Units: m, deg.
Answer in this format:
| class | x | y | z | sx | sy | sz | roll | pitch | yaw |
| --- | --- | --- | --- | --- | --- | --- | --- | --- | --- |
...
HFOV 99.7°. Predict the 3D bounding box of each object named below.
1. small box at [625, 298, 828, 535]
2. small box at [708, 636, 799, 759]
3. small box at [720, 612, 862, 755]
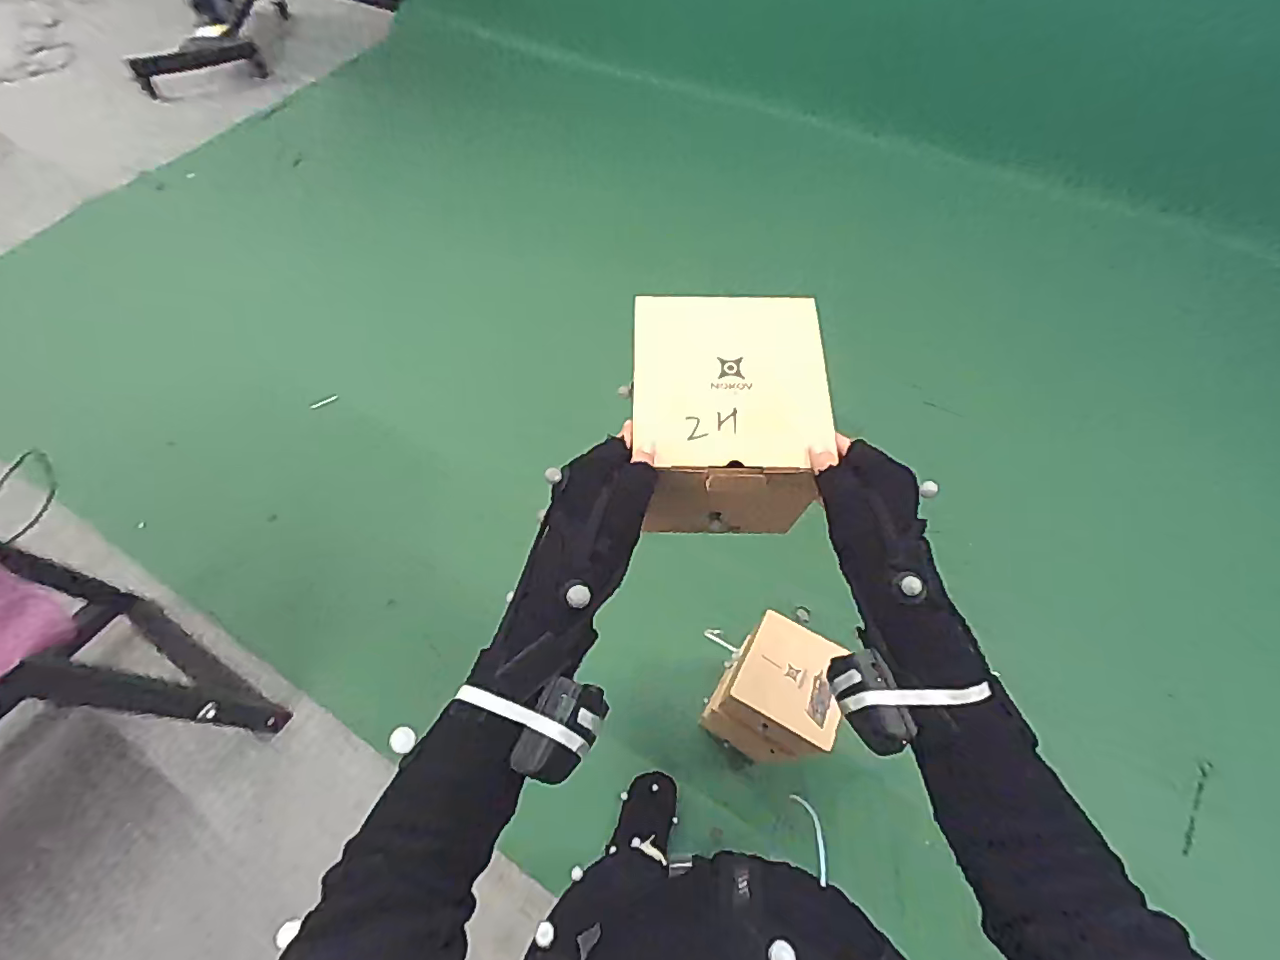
| class | x | y | z | sx | sy | sz | roll | pitch | yaw |
| --- | --- | --- | --- | --- | --- | --- | --- | --- | --- |
| small box | 0.069 | -0.055 | 0.536 | 0.168 | 0.176 | 0.179 | 0 | 67 | 1 |
| small box | 0.252 | 0.451 | 1.106 | 0.179 | 0.176 | 0.168 | 28 | 65 | 15 |
| small box | 0.260 | 0.366 | 0.965 | 0.179 | 0.176 | 0.168 | 26 | 64 | 16 |
